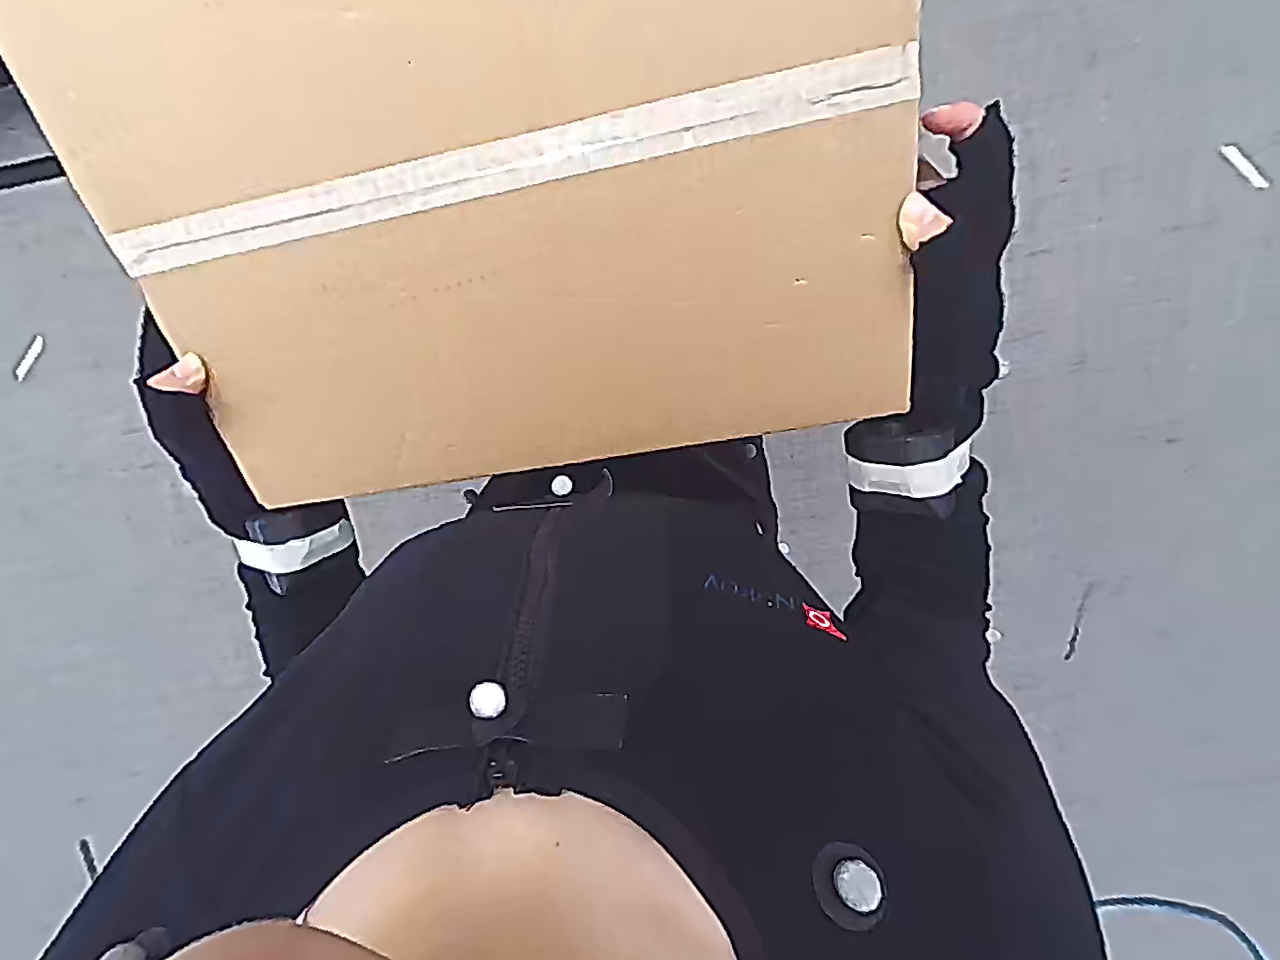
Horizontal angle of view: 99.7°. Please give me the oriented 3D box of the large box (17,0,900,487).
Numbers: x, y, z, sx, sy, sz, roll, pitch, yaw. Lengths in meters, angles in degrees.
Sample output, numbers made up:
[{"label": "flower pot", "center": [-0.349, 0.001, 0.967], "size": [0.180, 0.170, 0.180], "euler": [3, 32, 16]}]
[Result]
[{"label": "large box", "center": [-0.070, -0.224, 0.405], "size": [0.408, 0.320, 0.320], "euler": [-8, 116, 7]}]
